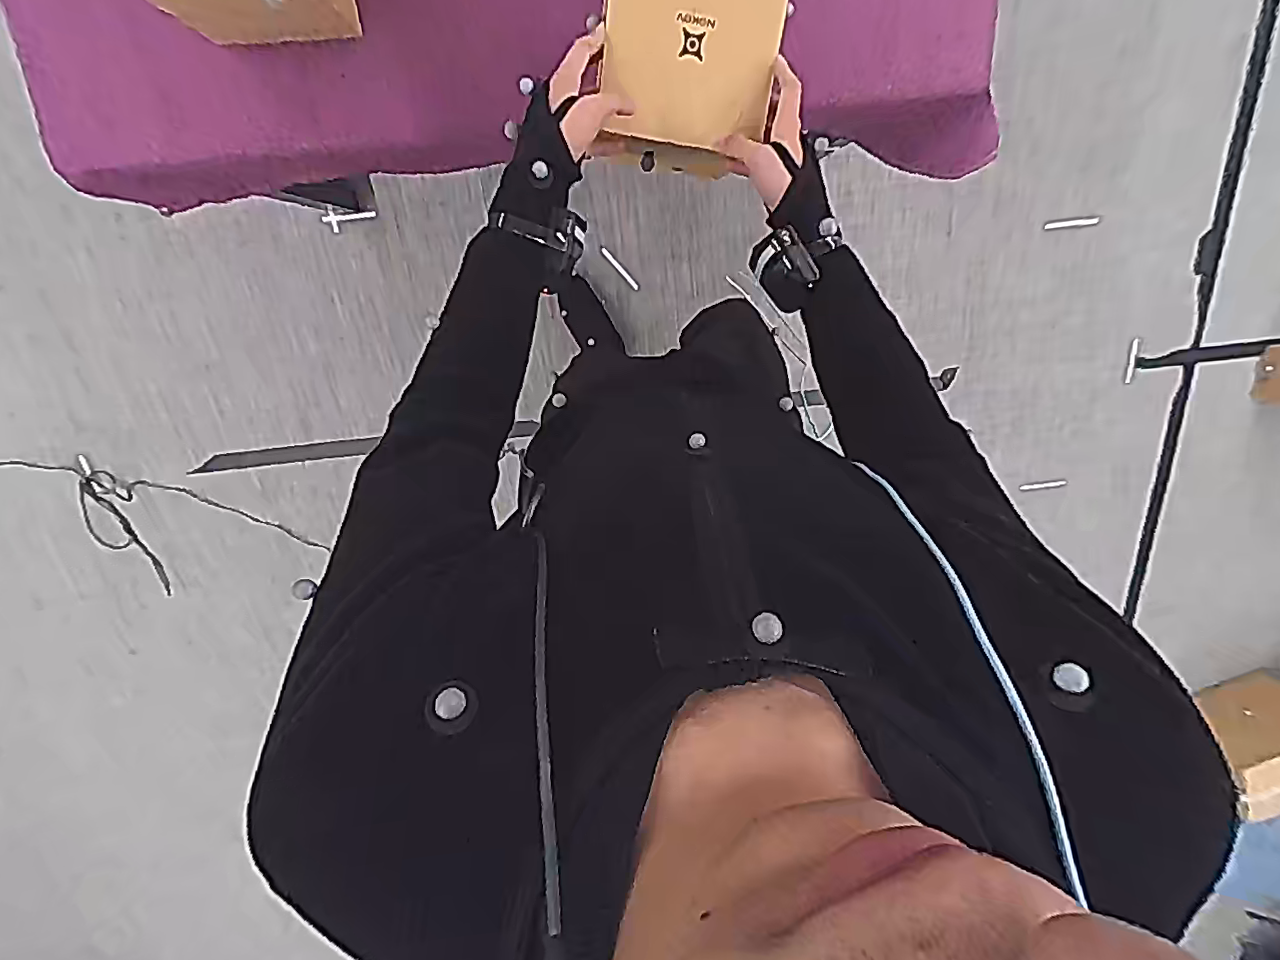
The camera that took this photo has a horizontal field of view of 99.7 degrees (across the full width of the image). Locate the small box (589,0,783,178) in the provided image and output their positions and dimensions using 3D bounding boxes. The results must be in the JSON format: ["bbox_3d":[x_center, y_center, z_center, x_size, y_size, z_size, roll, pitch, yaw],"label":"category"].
[{"bbox_3d":[0.037,-0.435,0.568,0.168,0.176,0.179,5,110,-8],"label":"small box"}]

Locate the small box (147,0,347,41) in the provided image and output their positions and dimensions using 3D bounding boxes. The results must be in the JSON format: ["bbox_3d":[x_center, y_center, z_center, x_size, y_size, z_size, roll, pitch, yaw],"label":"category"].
[{"bbox_3d":[-0.430,-0.586,0.557,0.179,0.176,0.168,-5,110,-3],"label":"small box"}]
